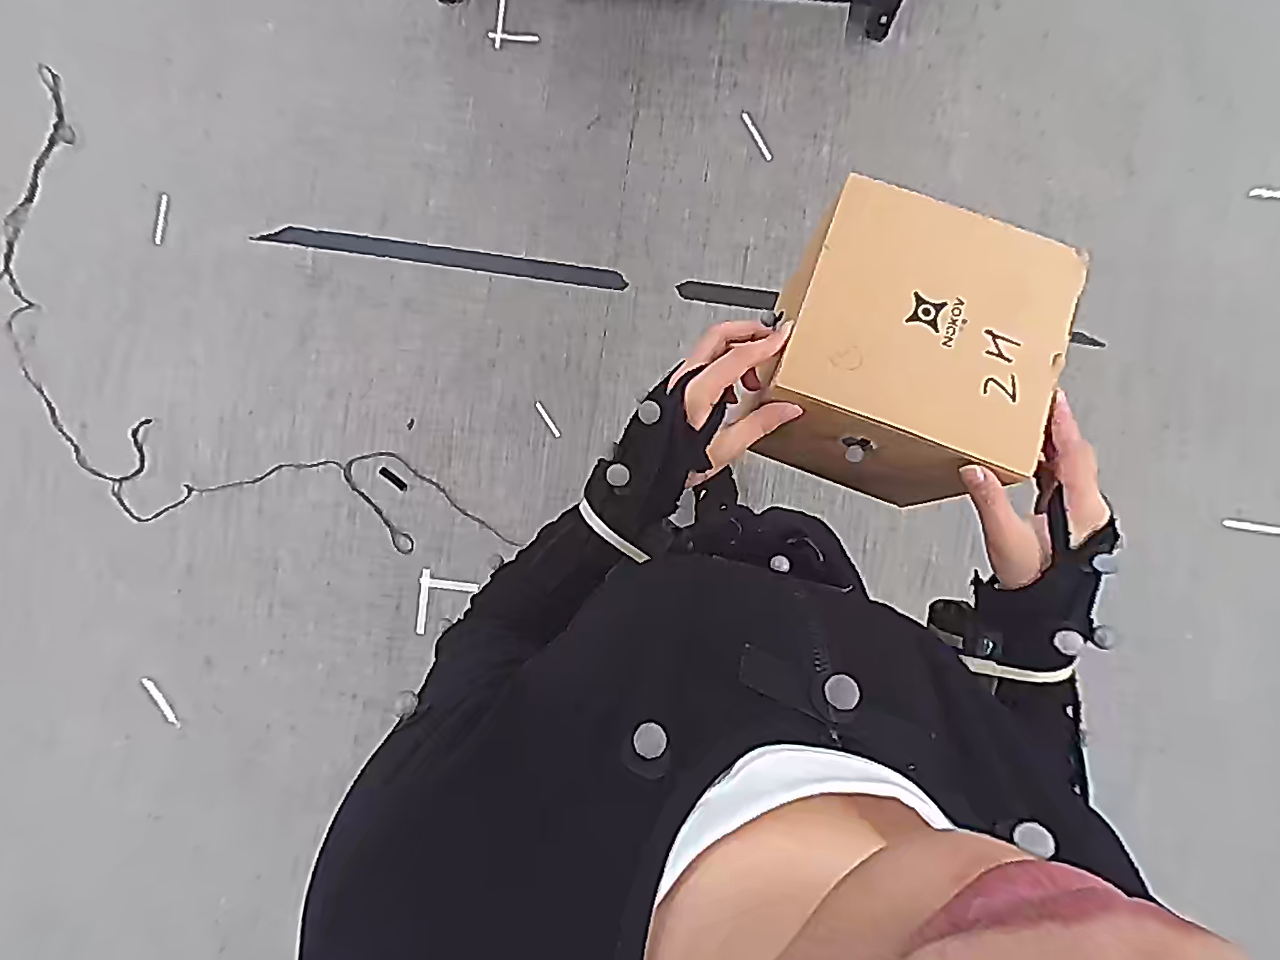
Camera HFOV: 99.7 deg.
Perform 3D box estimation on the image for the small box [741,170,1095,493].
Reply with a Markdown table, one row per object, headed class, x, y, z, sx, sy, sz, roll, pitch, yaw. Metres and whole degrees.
| class | x | y | z | sx | sy | sz | roll | pitch | yaw |
| --- | --- | --- | --- | --- | --- | --- | --- | --- | --- |
| small box | 0.196 | -0.097 | 0.434 | 0.179 | 0.176 | 0.168 | 21 | 82 | 2 |
